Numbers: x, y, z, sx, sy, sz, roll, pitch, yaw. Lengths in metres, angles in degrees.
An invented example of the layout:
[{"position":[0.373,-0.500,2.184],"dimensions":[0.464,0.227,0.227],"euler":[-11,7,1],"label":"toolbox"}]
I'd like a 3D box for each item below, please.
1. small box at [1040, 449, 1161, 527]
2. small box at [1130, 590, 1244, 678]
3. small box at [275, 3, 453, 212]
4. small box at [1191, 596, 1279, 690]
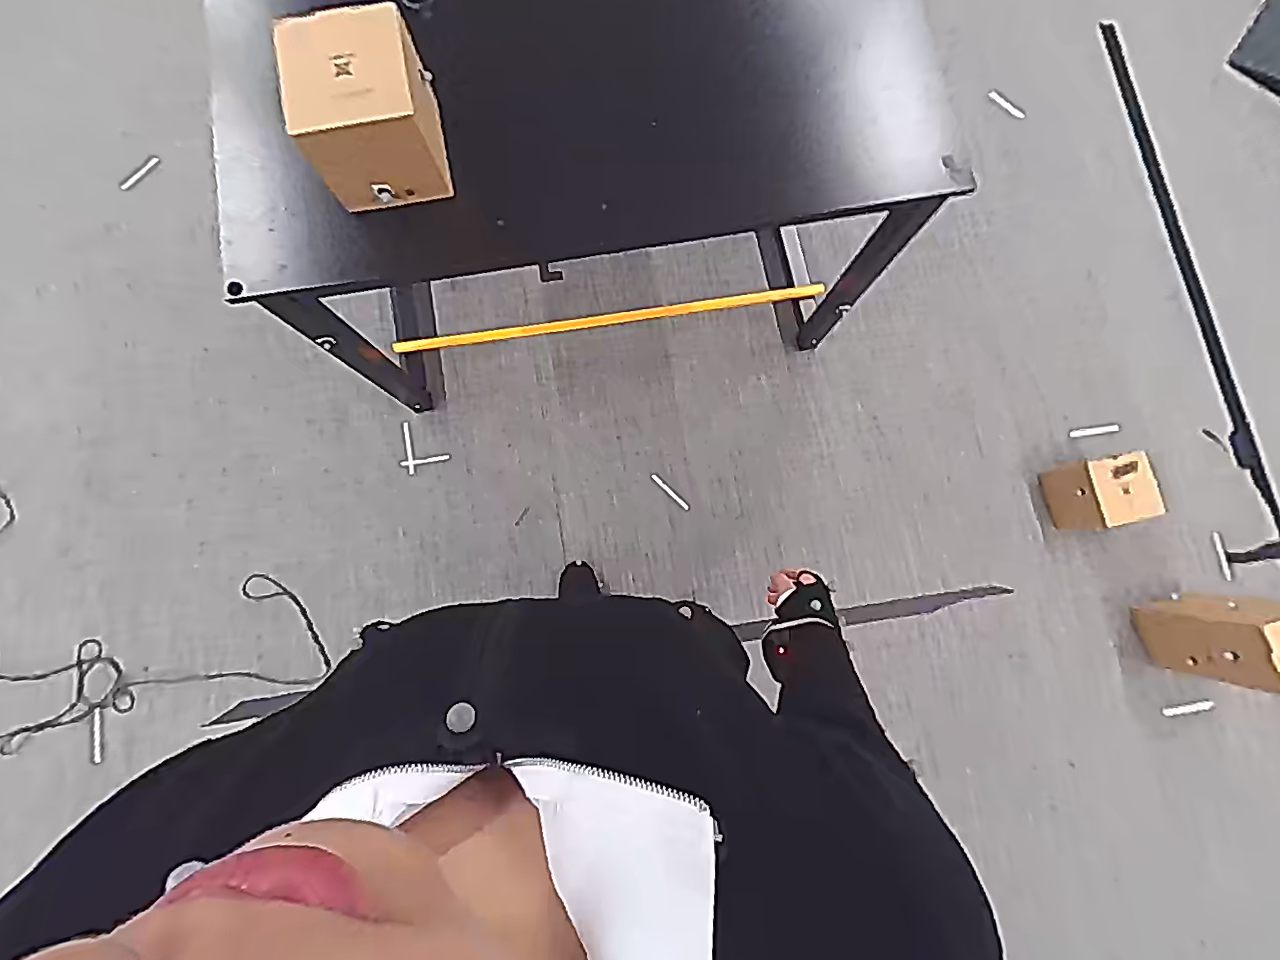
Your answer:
[{"position":[1.253,0.027,1.488],"dimensions":[0.168,0.176,0.179],"euler":[-12,83,-3],"label":"small box"},{"position":[1.482,0.403,1.444],"dimensions":[0.168,0.176,0.179],"euler":[-15,83,-4],"label":"small box"},{"position":[-0.391,-0.531,0.790],"dimensions":[0.168,0.176,0.179],"euler":[-12,83,-2],"label":"small box"},{"position":[1.477,0.380,1.281],"dimensions":[0.179,0.176,0.168],"euler":[-17,83,-3],"label":"small box"}]
